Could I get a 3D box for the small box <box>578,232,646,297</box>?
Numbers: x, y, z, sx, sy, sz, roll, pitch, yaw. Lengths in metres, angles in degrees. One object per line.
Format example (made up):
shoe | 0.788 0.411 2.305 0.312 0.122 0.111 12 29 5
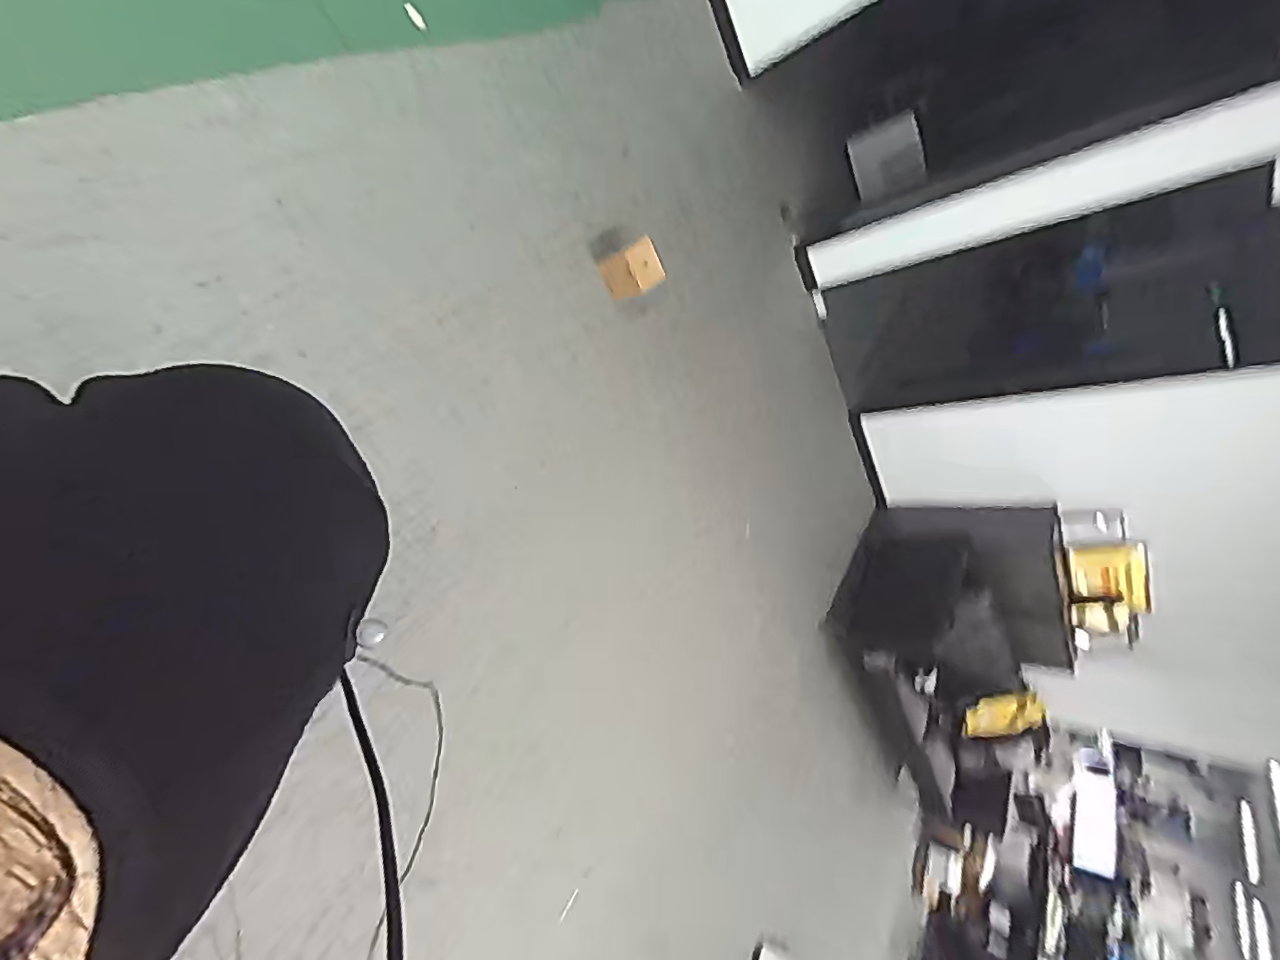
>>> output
small box | -0.113 -0.847 2.133 0.179 0.176 0.168 -49 123 -37
